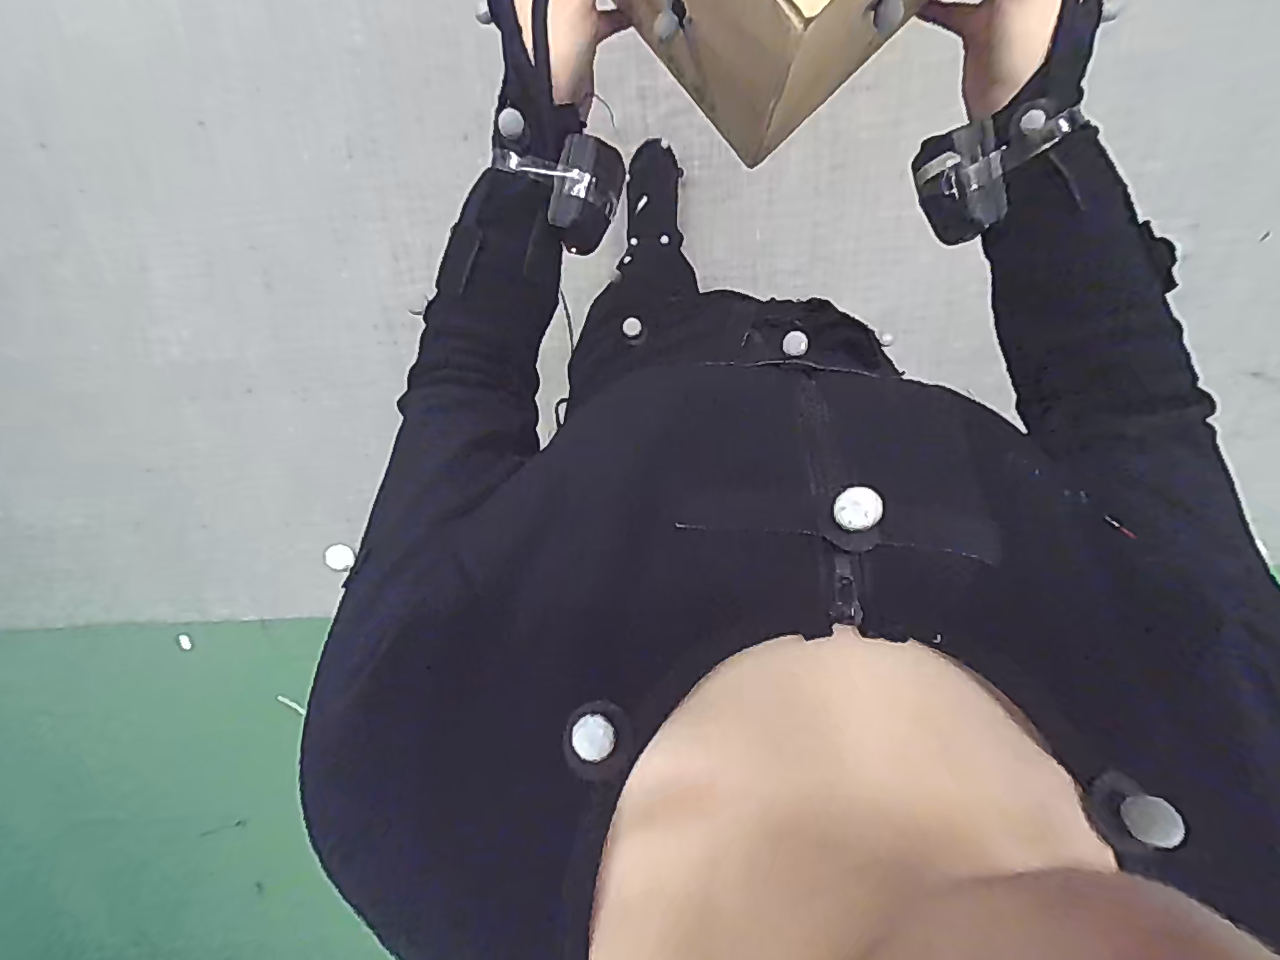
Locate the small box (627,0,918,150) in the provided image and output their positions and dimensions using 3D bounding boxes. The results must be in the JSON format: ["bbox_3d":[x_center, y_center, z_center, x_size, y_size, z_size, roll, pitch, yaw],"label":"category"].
[{"bbox_3d":[0.084,-0.333,0.300,0.179,0.176,0.168,-42,95,11],"label":"small box"}]
